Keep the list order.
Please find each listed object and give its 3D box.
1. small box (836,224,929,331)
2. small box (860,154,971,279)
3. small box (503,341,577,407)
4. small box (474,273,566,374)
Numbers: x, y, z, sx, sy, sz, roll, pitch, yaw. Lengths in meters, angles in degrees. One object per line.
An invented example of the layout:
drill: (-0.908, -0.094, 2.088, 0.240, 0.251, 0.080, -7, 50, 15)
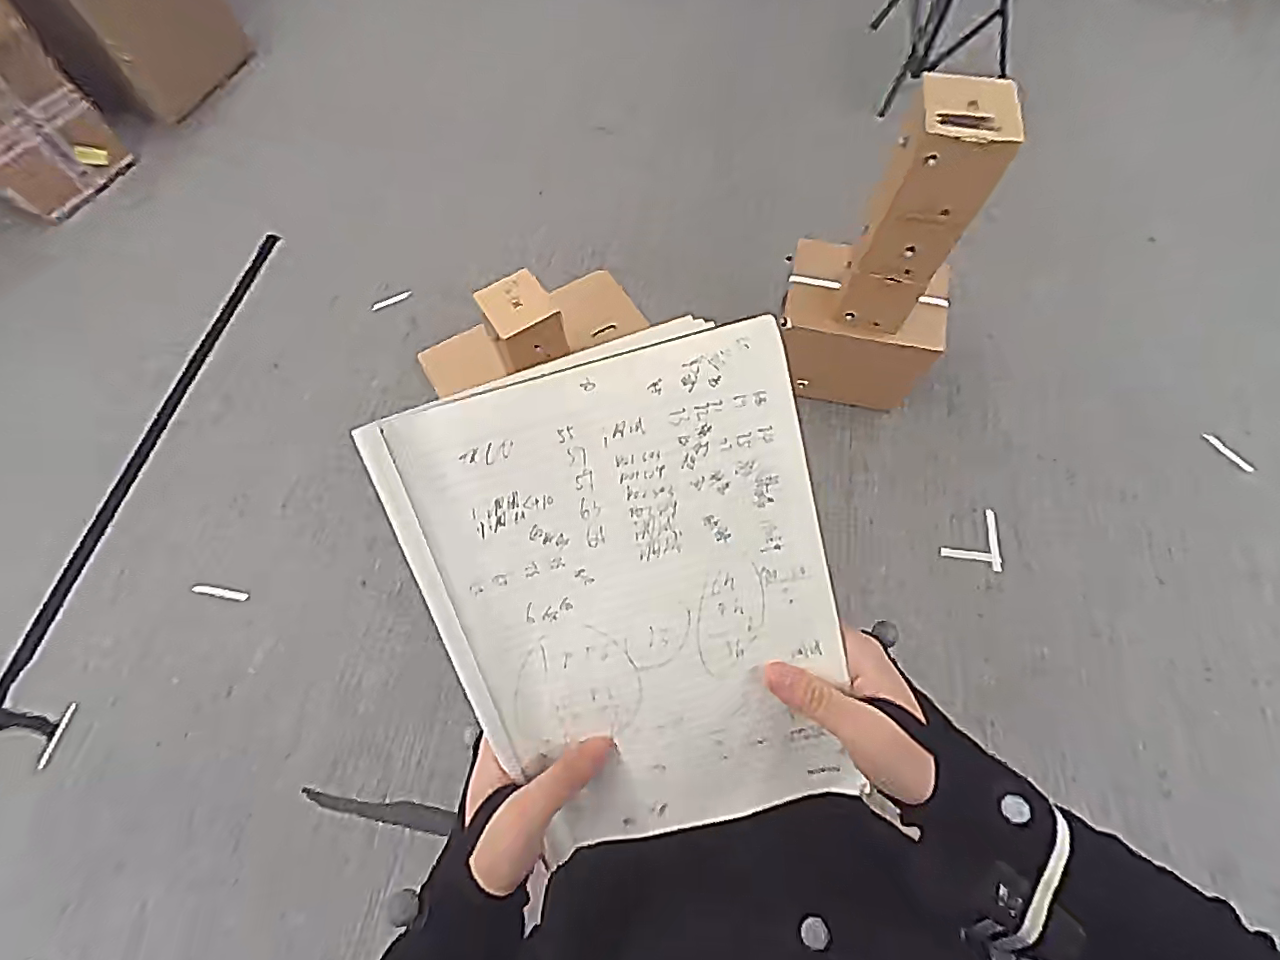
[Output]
small box: (0.593, -0.495, 1.327, 0.168, 0.176, 0.179, 14, 67, 7)
small box: (0.593, -0.567, 1.180, 0.168, 0.176, 0.179, 11, 69, 5)
small box: (-0.304, -0.352, 1.603, 0.168, 0.176, 0.179, -34, 72, -13)
small box: (-0.313, -0.408, 1.448, 0.168, 0.176, 0.179, -32, 70, -14)
